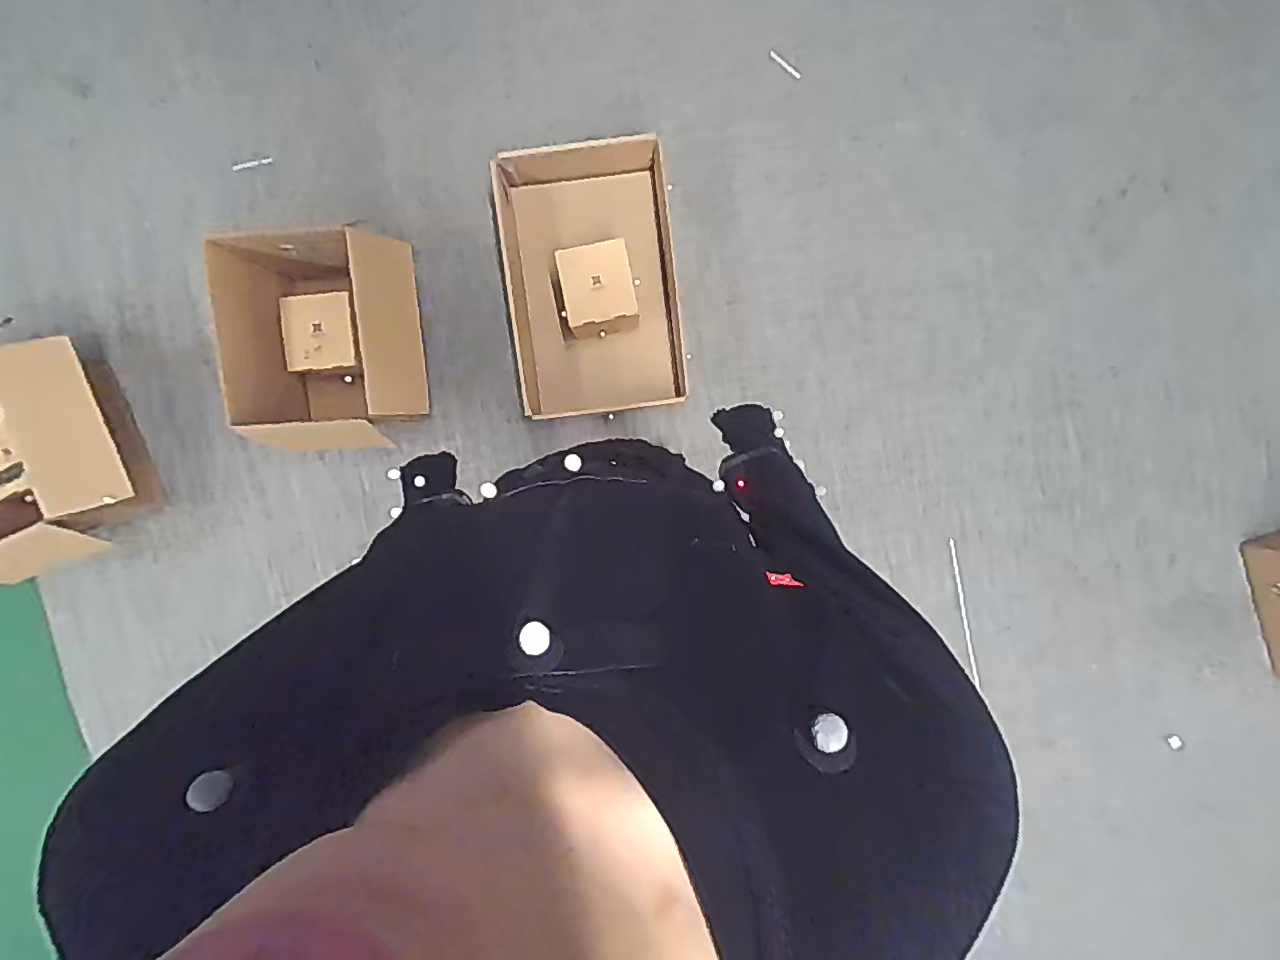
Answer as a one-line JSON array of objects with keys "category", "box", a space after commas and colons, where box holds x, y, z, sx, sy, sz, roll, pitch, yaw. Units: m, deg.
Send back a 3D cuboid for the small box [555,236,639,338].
[{"category": "small box", "box": [-0.100, -0.461, 1.314, 0.168, 0.176, 0.179, -12, 94, 1]}]
